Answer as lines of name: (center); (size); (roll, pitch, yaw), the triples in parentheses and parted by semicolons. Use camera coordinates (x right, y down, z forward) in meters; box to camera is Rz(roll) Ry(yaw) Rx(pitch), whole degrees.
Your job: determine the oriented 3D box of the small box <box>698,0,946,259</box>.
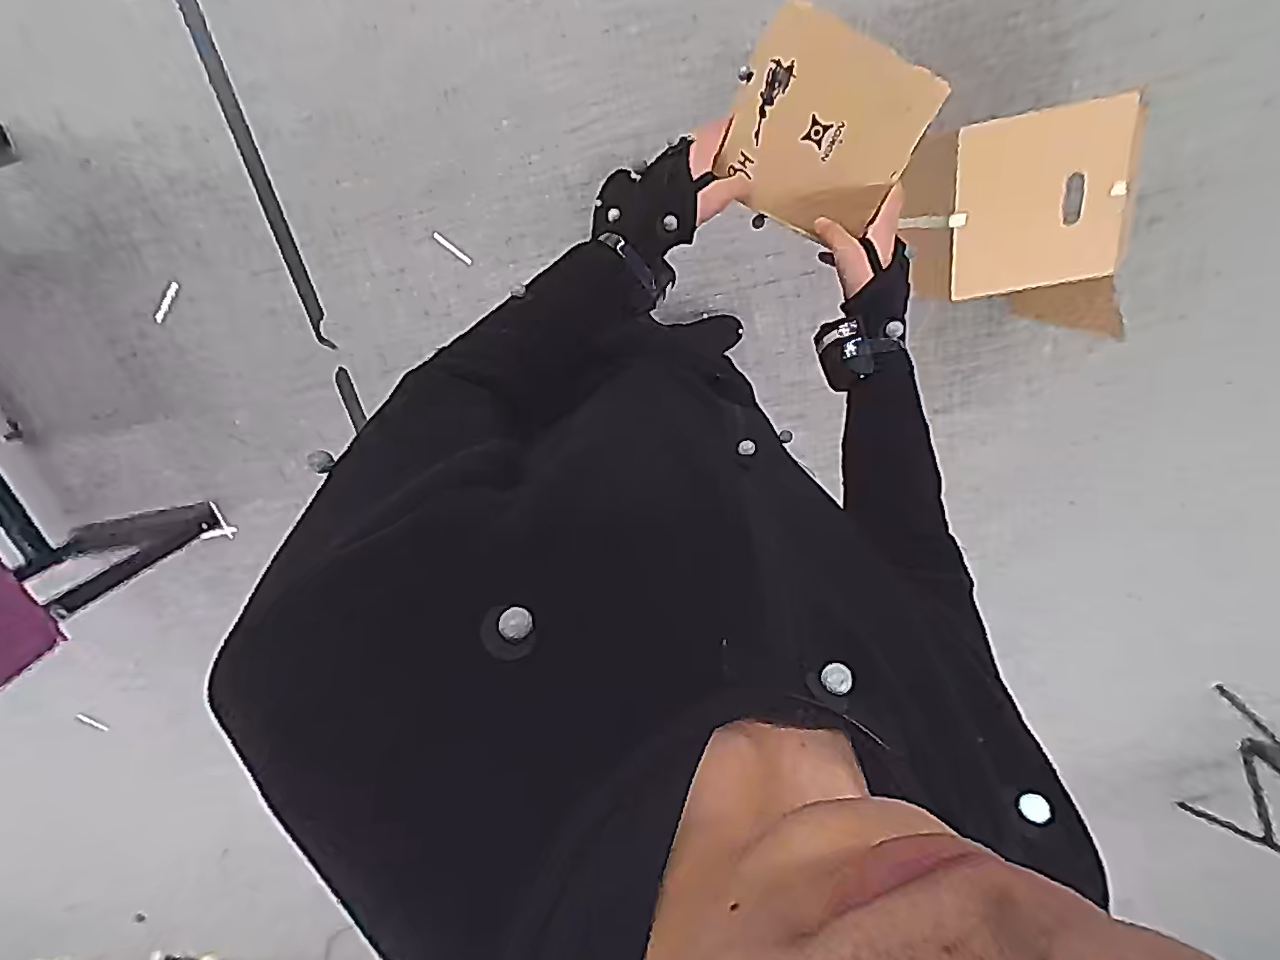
small box: (0.178, -0.370, 0.591); (0.179, 0.176, 0.168); (22, 119, -10)
